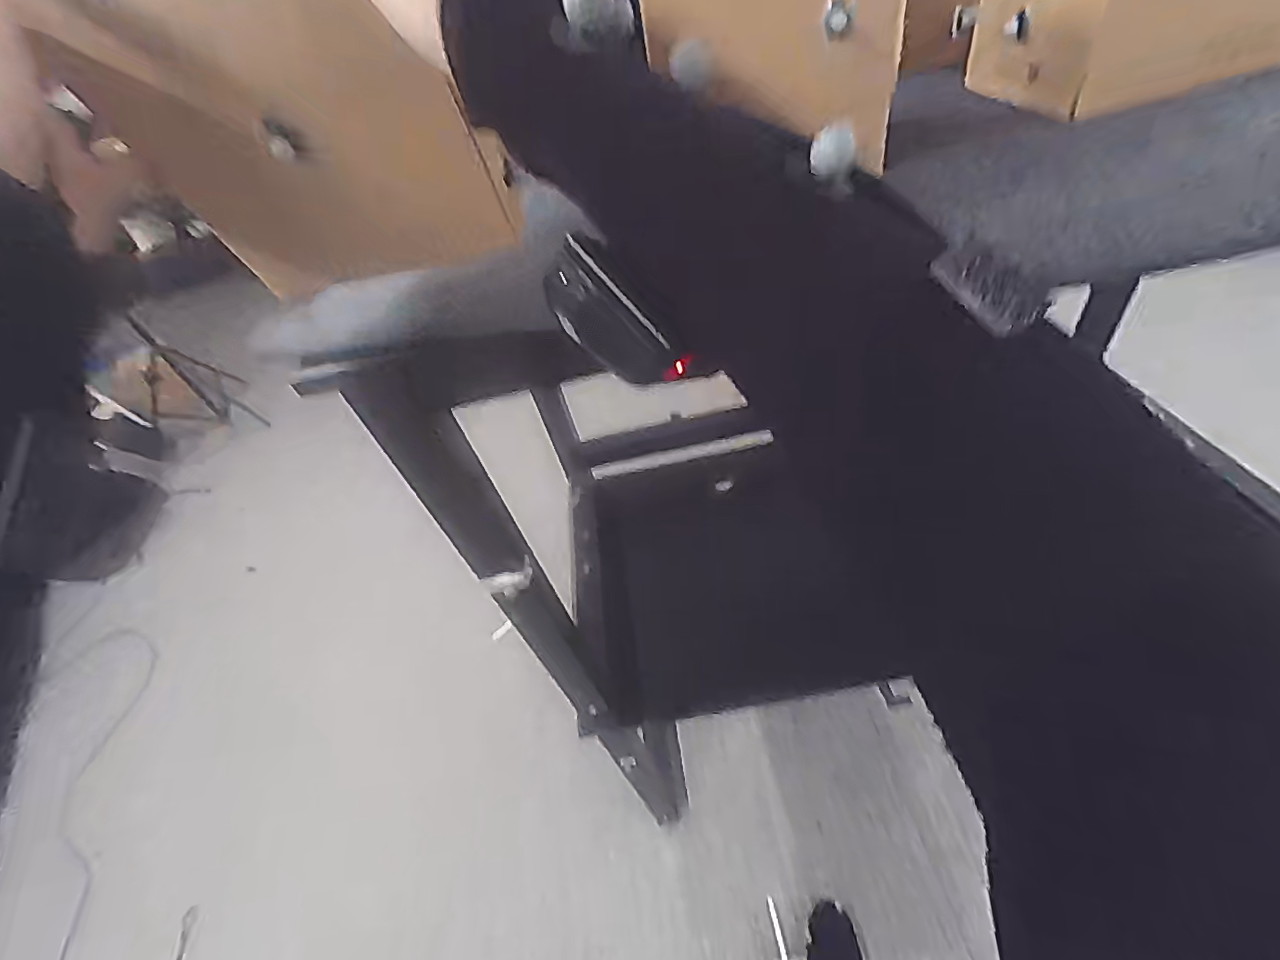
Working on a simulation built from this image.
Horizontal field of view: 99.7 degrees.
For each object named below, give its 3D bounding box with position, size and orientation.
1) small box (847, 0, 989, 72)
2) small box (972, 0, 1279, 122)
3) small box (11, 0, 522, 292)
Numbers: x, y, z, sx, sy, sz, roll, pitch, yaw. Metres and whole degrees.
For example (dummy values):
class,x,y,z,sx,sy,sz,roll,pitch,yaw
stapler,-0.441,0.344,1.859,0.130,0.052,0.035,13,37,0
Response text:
class,x,y,z,sx,sy,sz,roll,pitch,yaw
small box,0.346,-0.587,0.610,0.168,0.176,0.179,-13,45,4
small box,0.408,-0.418,0.433,0.179,0.176,0.168,-13,45,4
small box,-0.180,-0.245,0.329,0.179,0.176,0.168,-10,62,6
